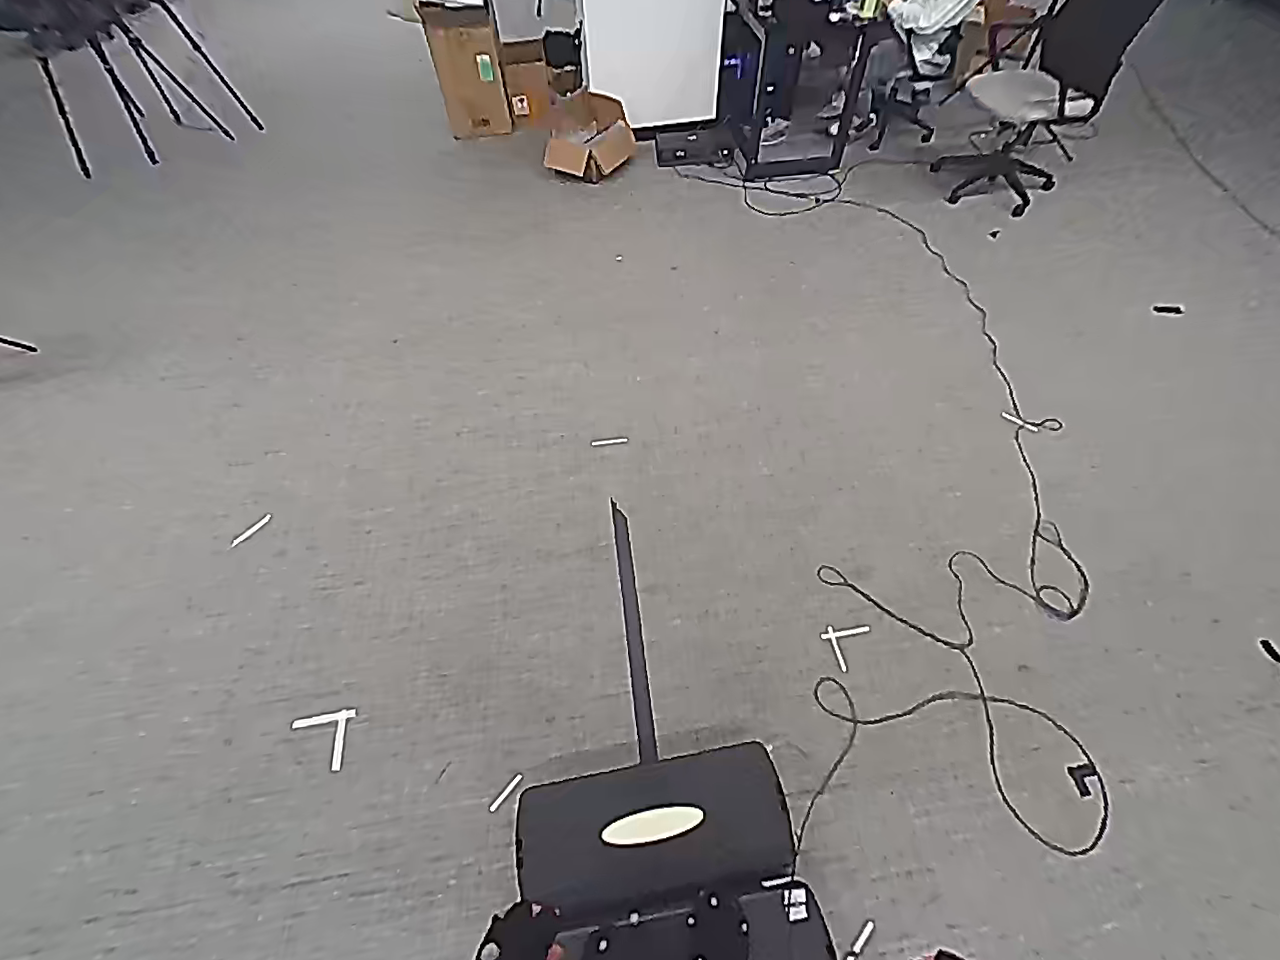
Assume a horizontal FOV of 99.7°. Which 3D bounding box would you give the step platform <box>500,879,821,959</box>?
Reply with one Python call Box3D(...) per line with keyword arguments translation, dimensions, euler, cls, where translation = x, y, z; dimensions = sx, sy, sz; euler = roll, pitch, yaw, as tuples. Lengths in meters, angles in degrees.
Box3D(translation=(0.046, 1.076, 1.136), dimensions=(0.684, 0.204, 0.286), euler=(-10, 55, -3), cls="step platform")
